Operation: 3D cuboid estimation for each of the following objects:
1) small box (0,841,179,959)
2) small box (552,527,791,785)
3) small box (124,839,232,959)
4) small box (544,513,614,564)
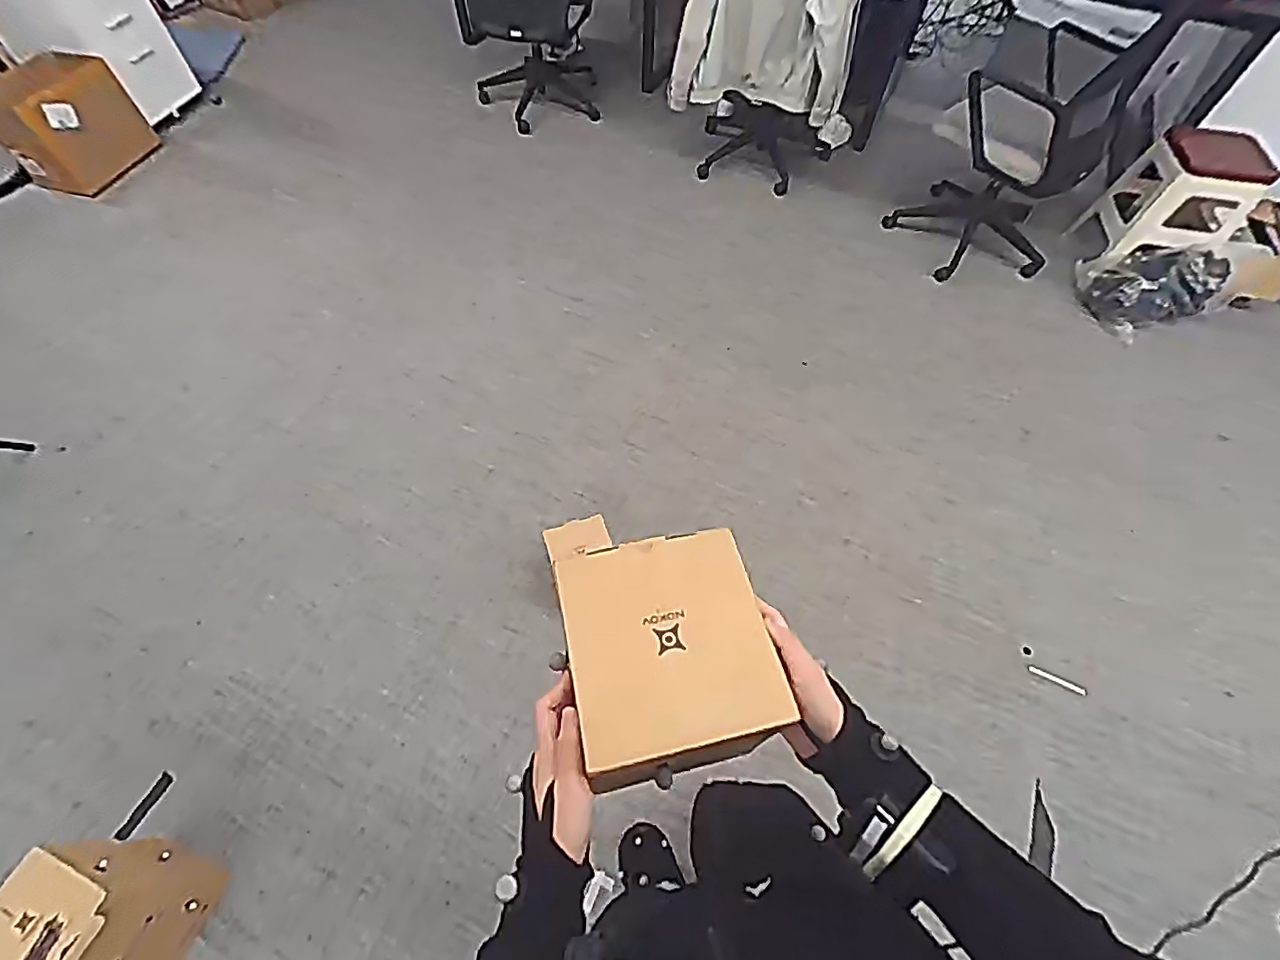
[{"bbox_3d":[-0.975,0.753,0.939,0.179,0.176,0.168,20,61,11],"label":"small box"},{"bbox_3d":[0.017,0.171,0.509,0.168,0.176,0.179,-10,55,-10],"label":"small box"},{"bbox_3d":[-0.981,0.841,1.079,0.179,0.176,0.168,19,60,11],"label":"small box"},{"bbox_3d":[-0.153,0.221,1.460,0.168,0.176,0.179,-17,61,-12],"label":"small box"}]
